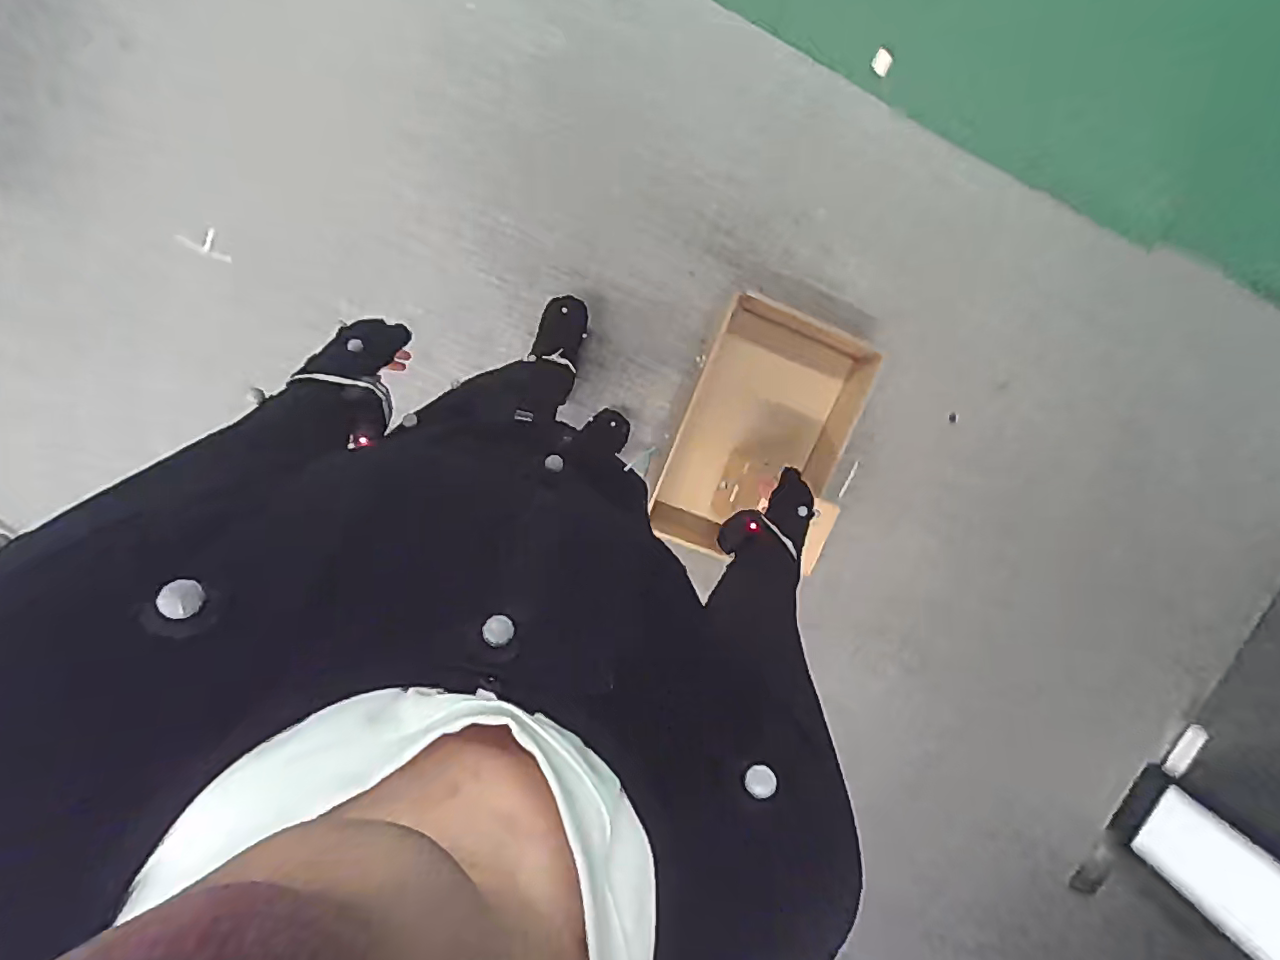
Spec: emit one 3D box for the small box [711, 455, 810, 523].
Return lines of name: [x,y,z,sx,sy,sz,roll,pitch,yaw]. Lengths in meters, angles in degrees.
small box: [0.300,0.040,1.391,0.179,0.176,0.168,17,98,-8]

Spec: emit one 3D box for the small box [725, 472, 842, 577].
small box: [0.310,0.091,1.215,0.179,0.176,0.168,22,99,-9]
